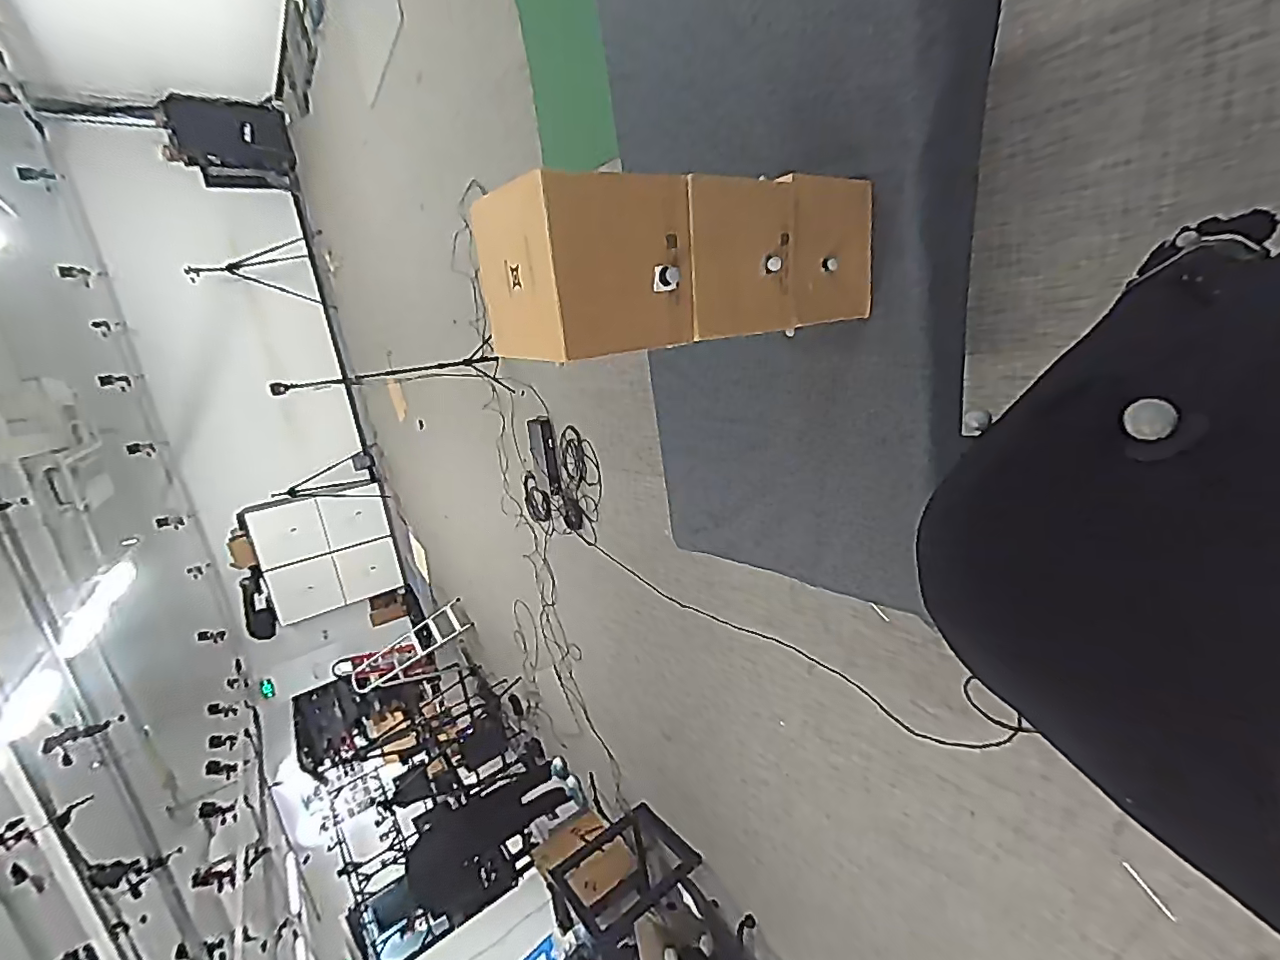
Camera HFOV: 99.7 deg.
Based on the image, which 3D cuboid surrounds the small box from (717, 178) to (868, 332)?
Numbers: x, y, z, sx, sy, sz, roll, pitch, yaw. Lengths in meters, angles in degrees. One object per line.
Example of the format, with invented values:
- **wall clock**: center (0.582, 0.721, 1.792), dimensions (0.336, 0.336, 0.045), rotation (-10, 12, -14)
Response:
- **small box**: center (0.205, -0.315, 0.771), dimensions (0.168, 0.176, 0.179), rotation (16, 119, 53)

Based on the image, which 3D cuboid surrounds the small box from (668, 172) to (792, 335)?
- **small box**: center (0.070, -0.274, 0.687), dimensions (0.179, 0.176, 0.168), rotation (17, 119, 54)

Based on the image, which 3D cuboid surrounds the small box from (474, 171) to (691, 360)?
- **small box**: center (-0.062, -0.231, 0.603), dimensions (0.179, 0.176, 0.168), rotation (19, 122, 51)
